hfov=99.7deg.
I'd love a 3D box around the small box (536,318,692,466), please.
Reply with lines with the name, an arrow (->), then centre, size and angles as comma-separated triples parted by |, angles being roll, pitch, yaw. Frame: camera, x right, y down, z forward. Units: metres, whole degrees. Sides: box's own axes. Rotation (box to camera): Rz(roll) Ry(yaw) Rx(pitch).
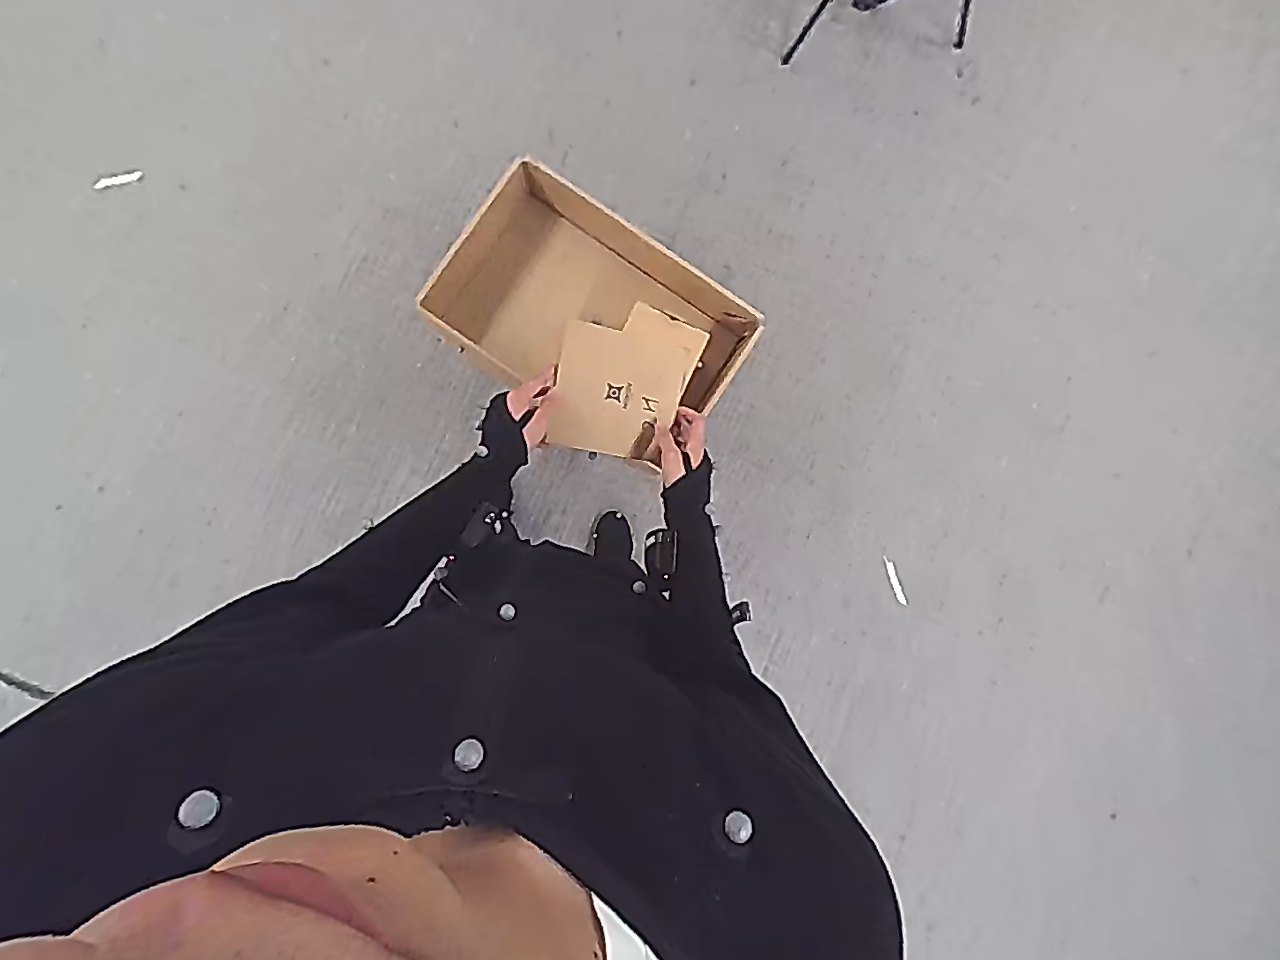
small box -> -0.049, -0.126, 0.791 | 0.179, 0.176, 0.168 | 10, 99, -18
